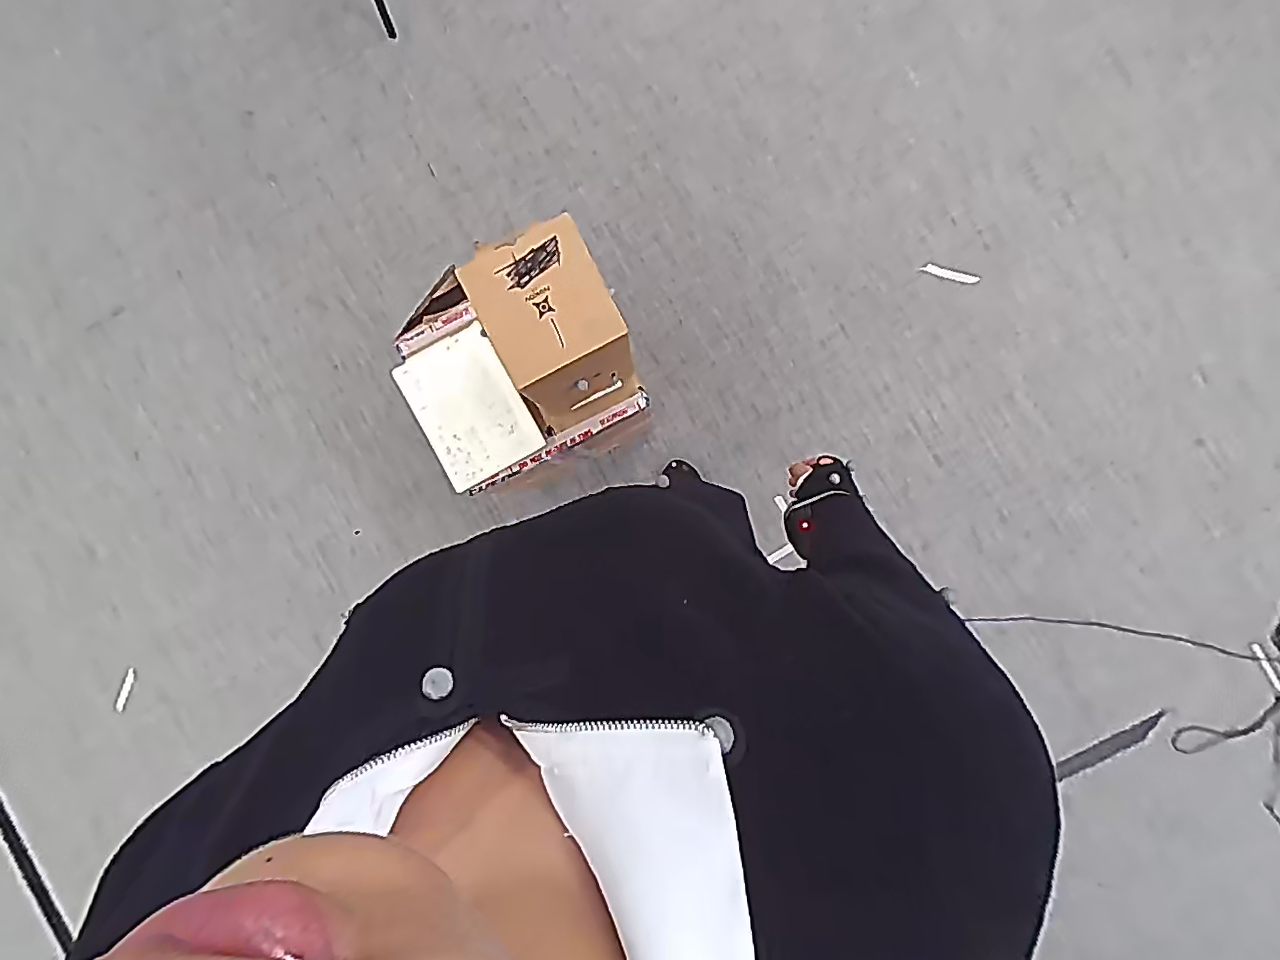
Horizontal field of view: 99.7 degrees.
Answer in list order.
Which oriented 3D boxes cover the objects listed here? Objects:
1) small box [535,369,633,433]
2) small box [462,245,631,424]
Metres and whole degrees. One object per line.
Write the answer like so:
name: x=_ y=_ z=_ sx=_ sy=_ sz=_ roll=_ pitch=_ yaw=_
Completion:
small box: x=-0.126 y=-0.196 z=0.948 sx=0.179 sy=0.176 sz=0.168 roll=-31 pitch=90 yaw=1
small box: x=-0.124 y=-0.196 z=0.783 sx=0.168 sy=0.176 sz=0.179 roll=-27 pitch=91 yaw=0
